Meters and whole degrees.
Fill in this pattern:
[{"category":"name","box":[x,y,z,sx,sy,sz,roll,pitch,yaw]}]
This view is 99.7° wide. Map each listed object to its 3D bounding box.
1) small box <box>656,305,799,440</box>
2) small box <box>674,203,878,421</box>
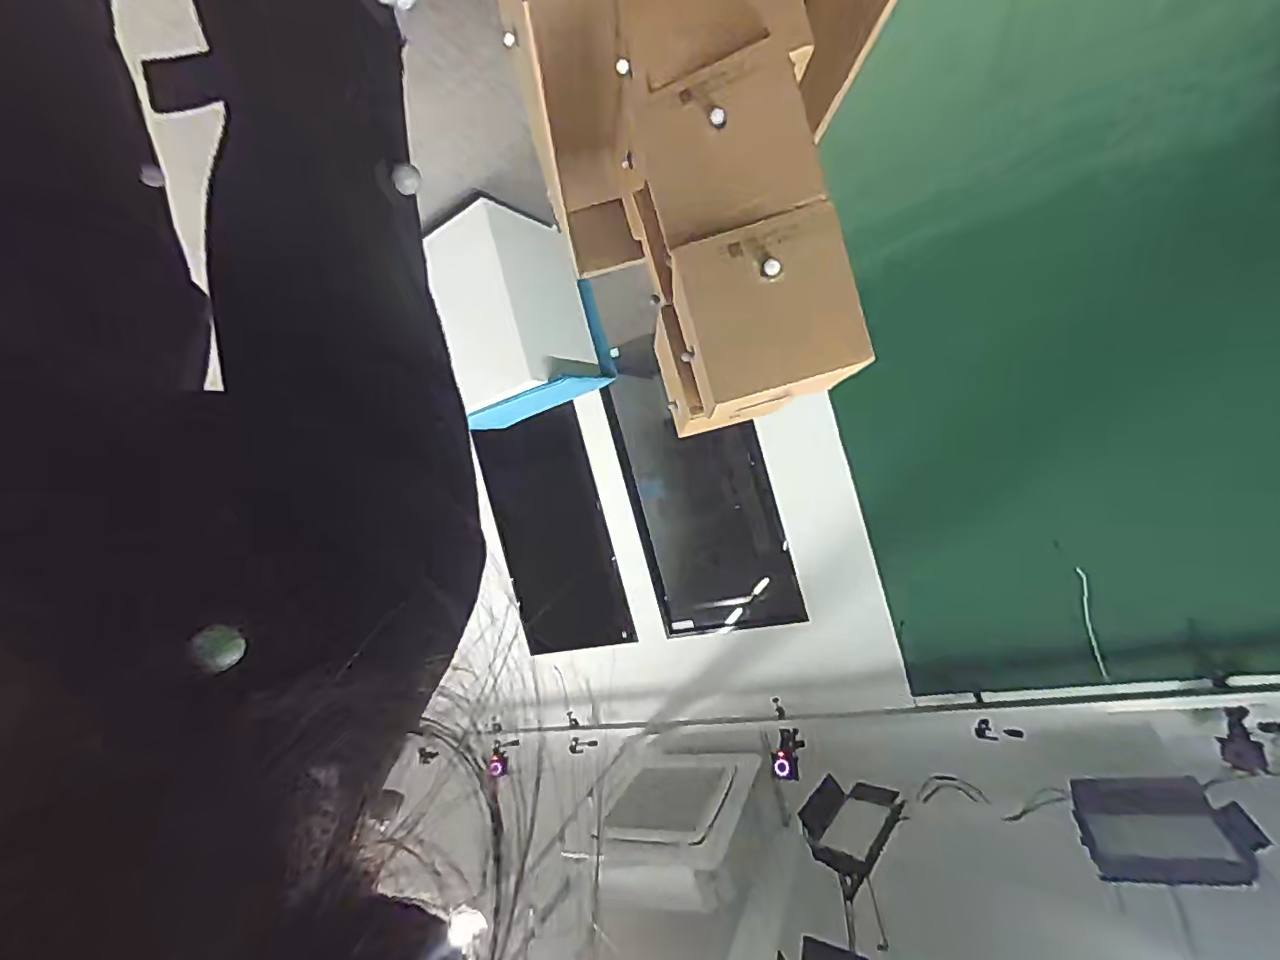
[{"category":"small box","box":[0.127,-0.174,0.822,0.168,0.176,0.179,-15,176,-2]},{"category":"small box","box":[0.140,-0.177,0.614,0.168,0.176,0.179,-17,178,5]}]
